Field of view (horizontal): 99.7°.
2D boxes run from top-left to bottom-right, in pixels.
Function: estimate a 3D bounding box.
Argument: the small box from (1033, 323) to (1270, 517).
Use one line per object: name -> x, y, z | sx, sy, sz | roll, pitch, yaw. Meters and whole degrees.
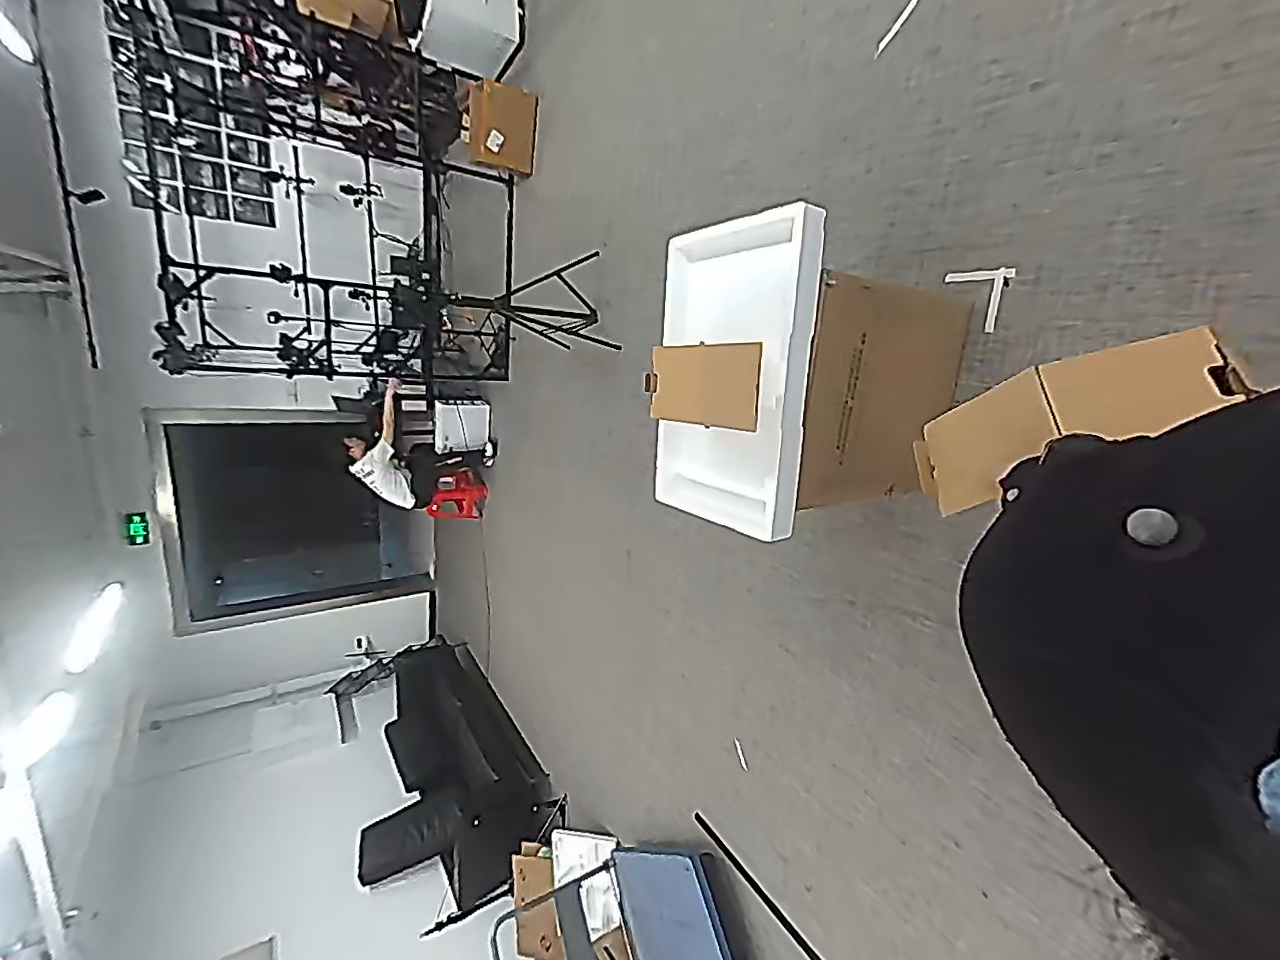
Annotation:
small box -> 0.632, -0.064, 0.700 | 0.179, 0.176, 0.168 | -12, 57, 28
